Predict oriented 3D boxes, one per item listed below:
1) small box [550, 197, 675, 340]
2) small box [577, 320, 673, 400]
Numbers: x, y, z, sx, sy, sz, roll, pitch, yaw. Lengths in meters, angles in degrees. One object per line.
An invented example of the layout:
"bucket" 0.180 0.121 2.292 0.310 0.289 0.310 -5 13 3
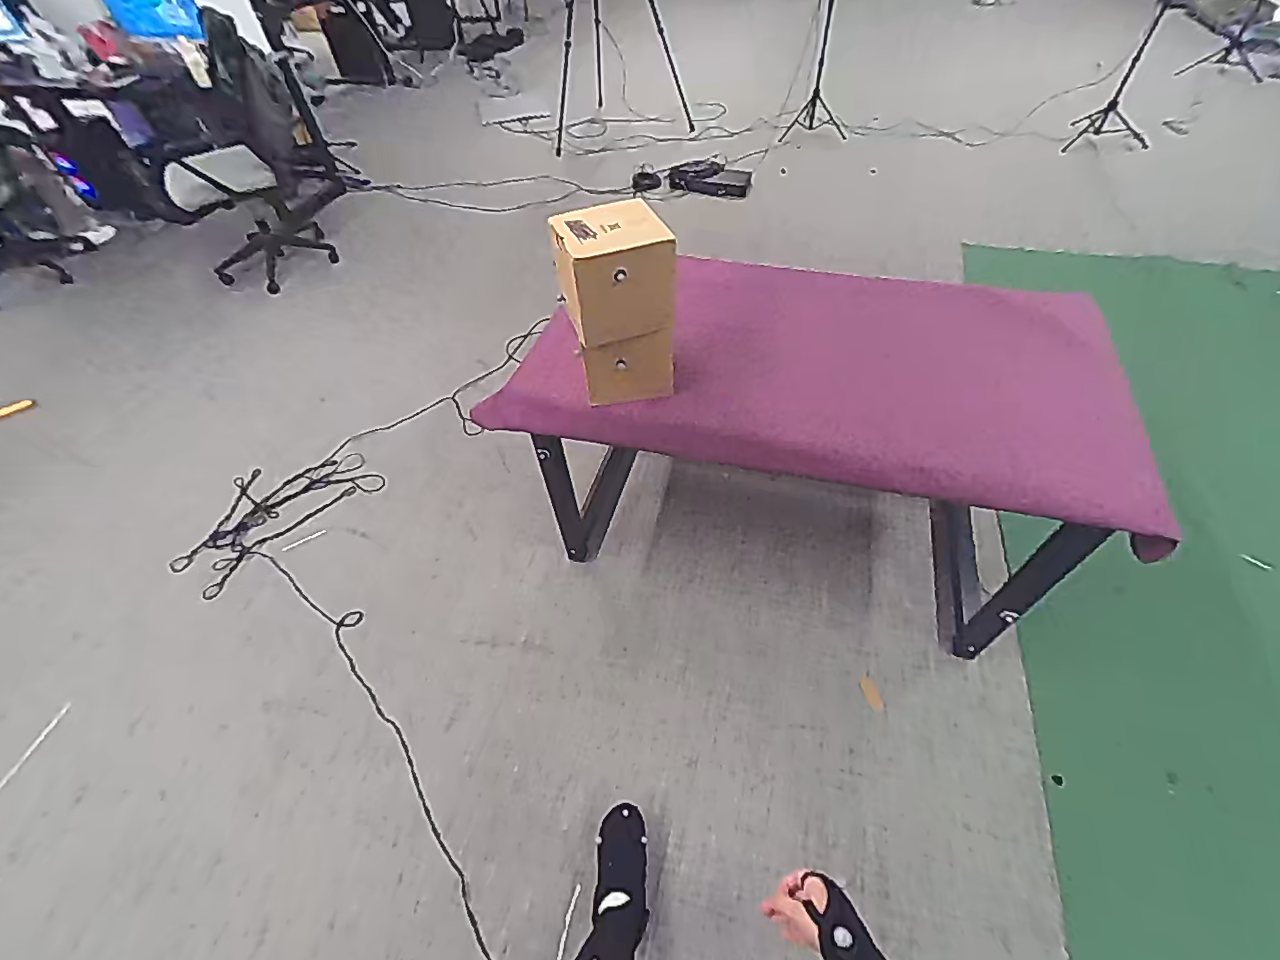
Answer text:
"small box" -0.045 -0.372 0.960 0.179 0.176 0.168 -16 52 -11
"small box" -0.031 -0.279 1.097 0.179 0.176 0.168 -8 51 -3
